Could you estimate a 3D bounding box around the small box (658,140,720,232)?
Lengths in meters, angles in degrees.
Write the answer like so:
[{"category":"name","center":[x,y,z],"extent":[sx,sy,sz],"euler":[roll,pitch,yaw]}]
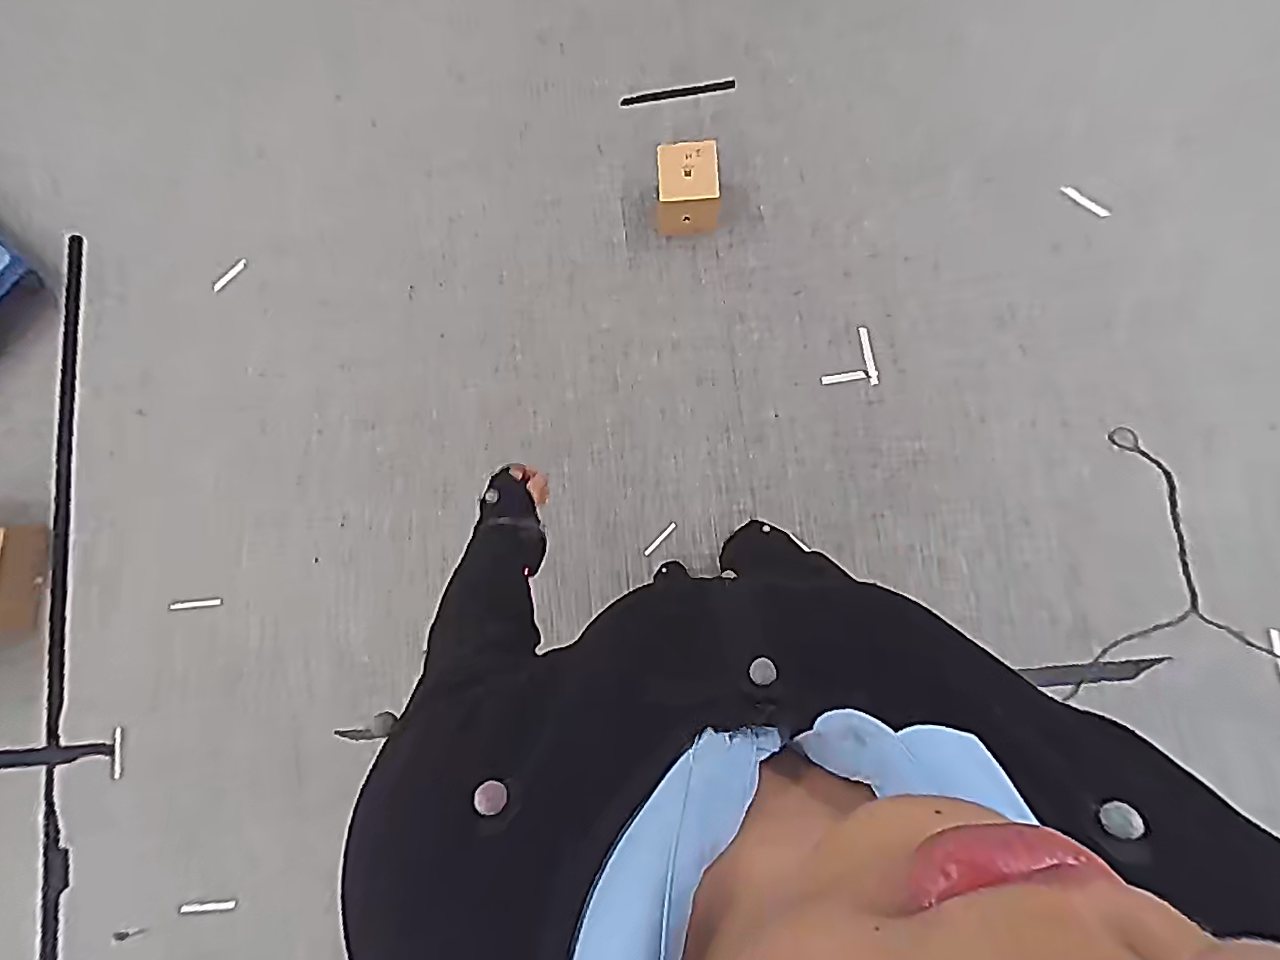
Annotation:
[{"category":"small box","center":[0.140,-0.839,1.563],"extent":[0.168,0.176,0.179],"euler":[-3,82,2]}]
